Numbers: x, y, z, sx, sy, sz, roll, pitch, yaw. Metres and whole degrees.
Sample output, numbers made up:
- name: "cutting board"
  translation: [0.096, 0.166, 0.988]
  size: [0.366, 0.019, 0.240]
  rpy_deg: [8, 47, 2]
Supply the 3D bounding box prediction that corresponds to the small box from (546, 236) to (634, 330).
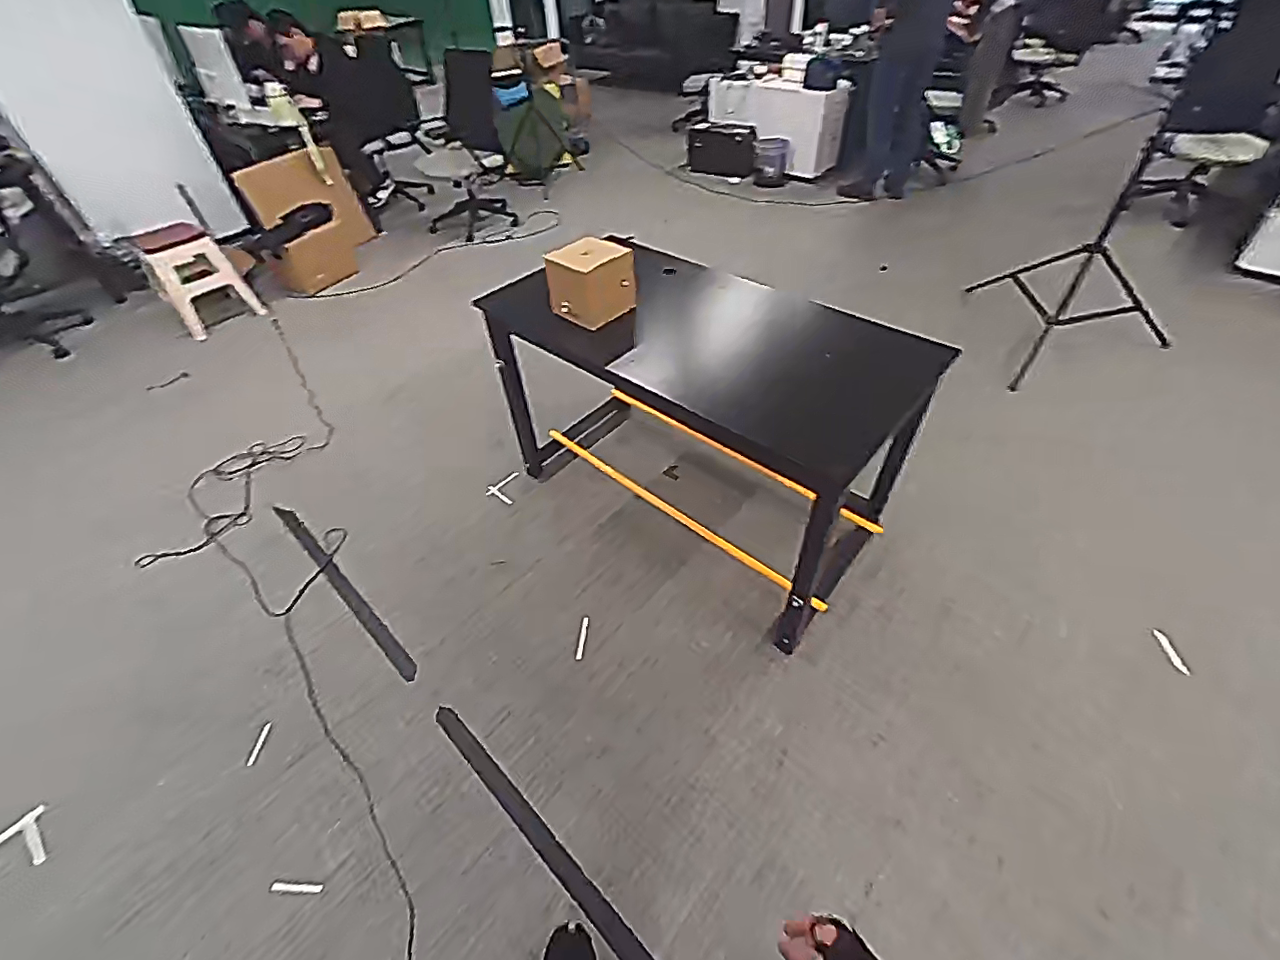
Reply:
- name: "small box"
  translation: [-0.130, -0.542, 1.486]
  size: [0.168, 0.176, 0.179]
  rpy_deg: [31, 55, 30]
